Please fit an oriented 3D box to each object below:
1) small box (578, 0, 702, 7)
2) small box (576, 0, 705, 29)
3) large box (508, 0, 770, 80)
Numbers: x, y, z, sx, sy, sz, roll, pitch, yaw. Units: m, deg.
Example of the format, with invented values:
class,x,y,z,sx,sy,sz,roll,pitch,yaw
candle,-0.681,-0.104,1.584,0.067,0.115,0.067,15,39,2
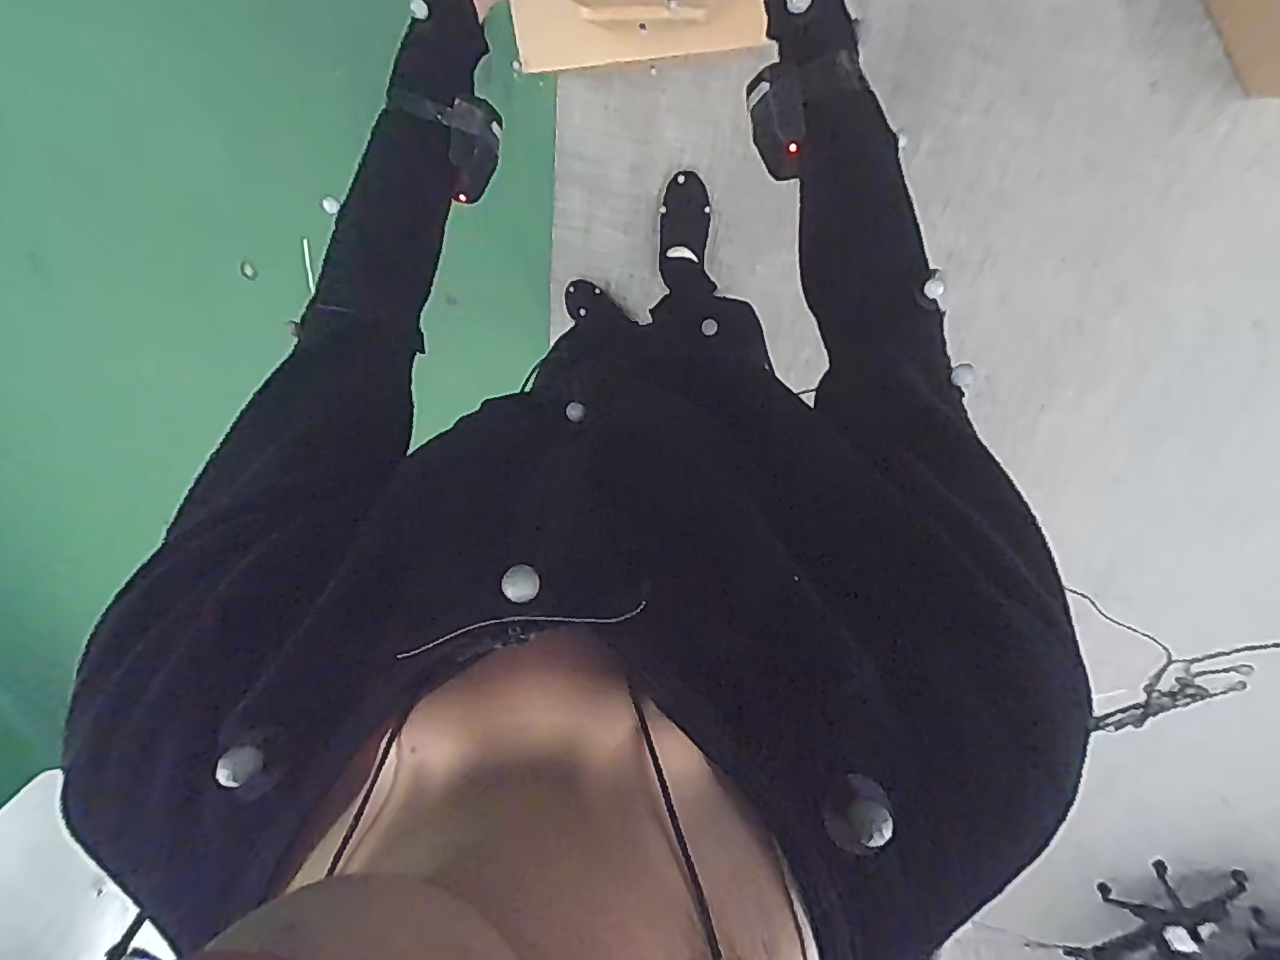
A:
class,x,y,z,sx,sy,sz,roll,pitch,yaw
small box,-0.004,-0.623,0.576,0.179,0.176,0.168,4,126,3
small box,0.008,-0.711,0.711,0.168,0.176,0.179,3,126,4
large box,0.005,-0.878,0.895,0.408,0.320,0.320,0,124,9
